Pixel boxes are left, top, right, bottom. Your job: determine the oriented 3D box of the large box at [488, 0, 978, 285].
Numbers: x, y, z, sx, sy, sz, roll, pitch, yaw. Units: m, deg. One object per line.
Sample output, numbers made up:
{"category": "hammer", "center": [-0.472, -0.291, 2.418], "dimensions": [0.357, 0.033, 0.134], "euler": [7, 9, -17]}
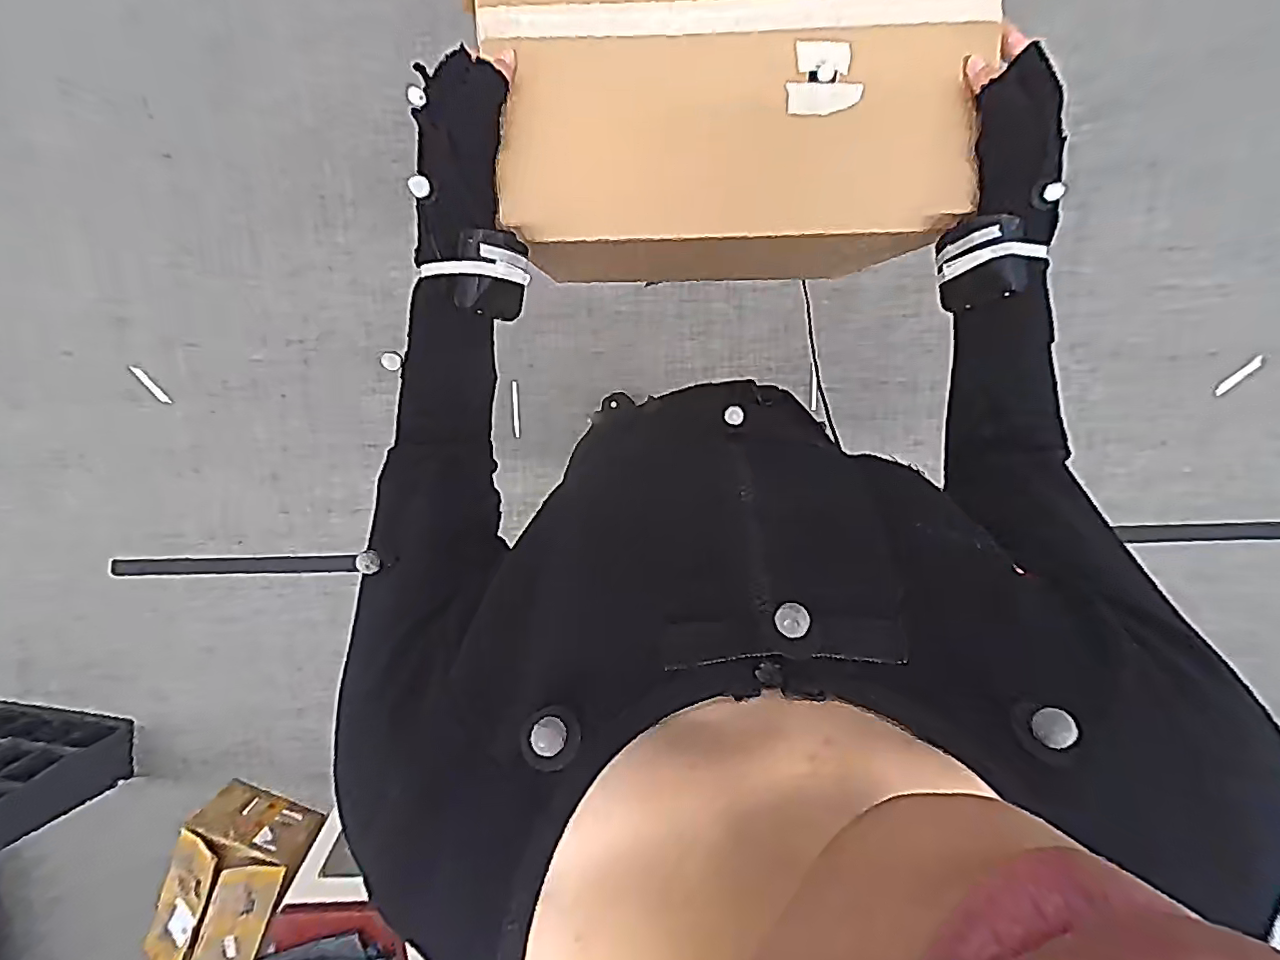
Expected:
{"category": "large box", "center": [0.074, -0.399, 0.587], "dimensions": [0.408, 0.320, 0.320], "euler": [-2, 104, 0]}
